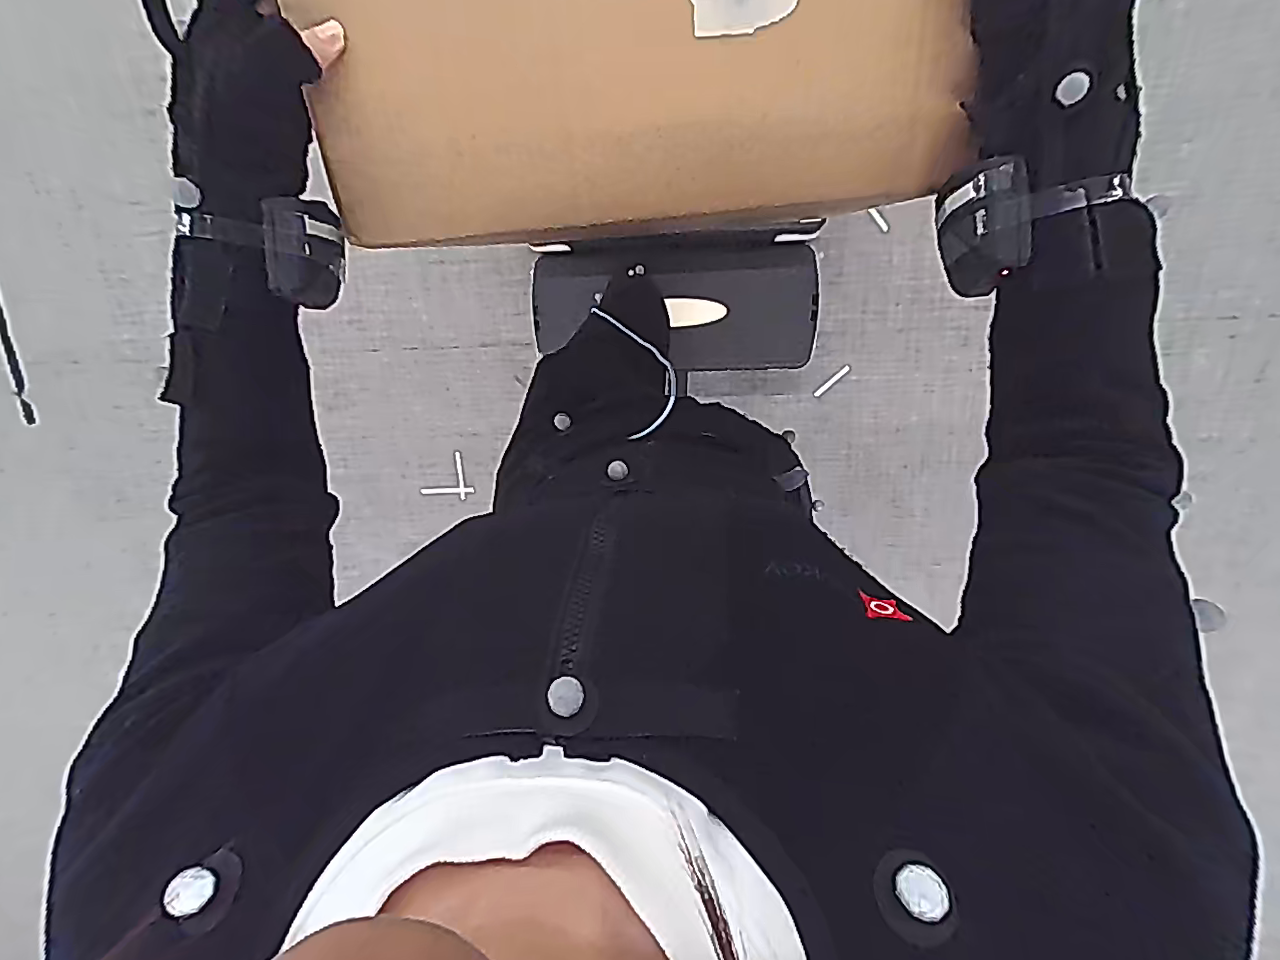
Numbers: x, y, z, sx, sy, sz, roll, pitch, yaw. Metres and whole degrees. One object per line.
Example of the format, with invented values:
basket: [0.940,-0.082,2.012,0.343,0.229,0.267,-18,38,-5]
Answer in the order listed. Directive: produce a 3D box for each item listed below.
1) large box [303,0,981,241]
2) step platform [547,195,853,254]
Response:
large box: [0.001,-0.382,0.435,0.408,0.320,0.320,-3,114,7]
step platform: [0.111,-0.671,1.177,0.684,0.204,0.286,-2,106,4]
